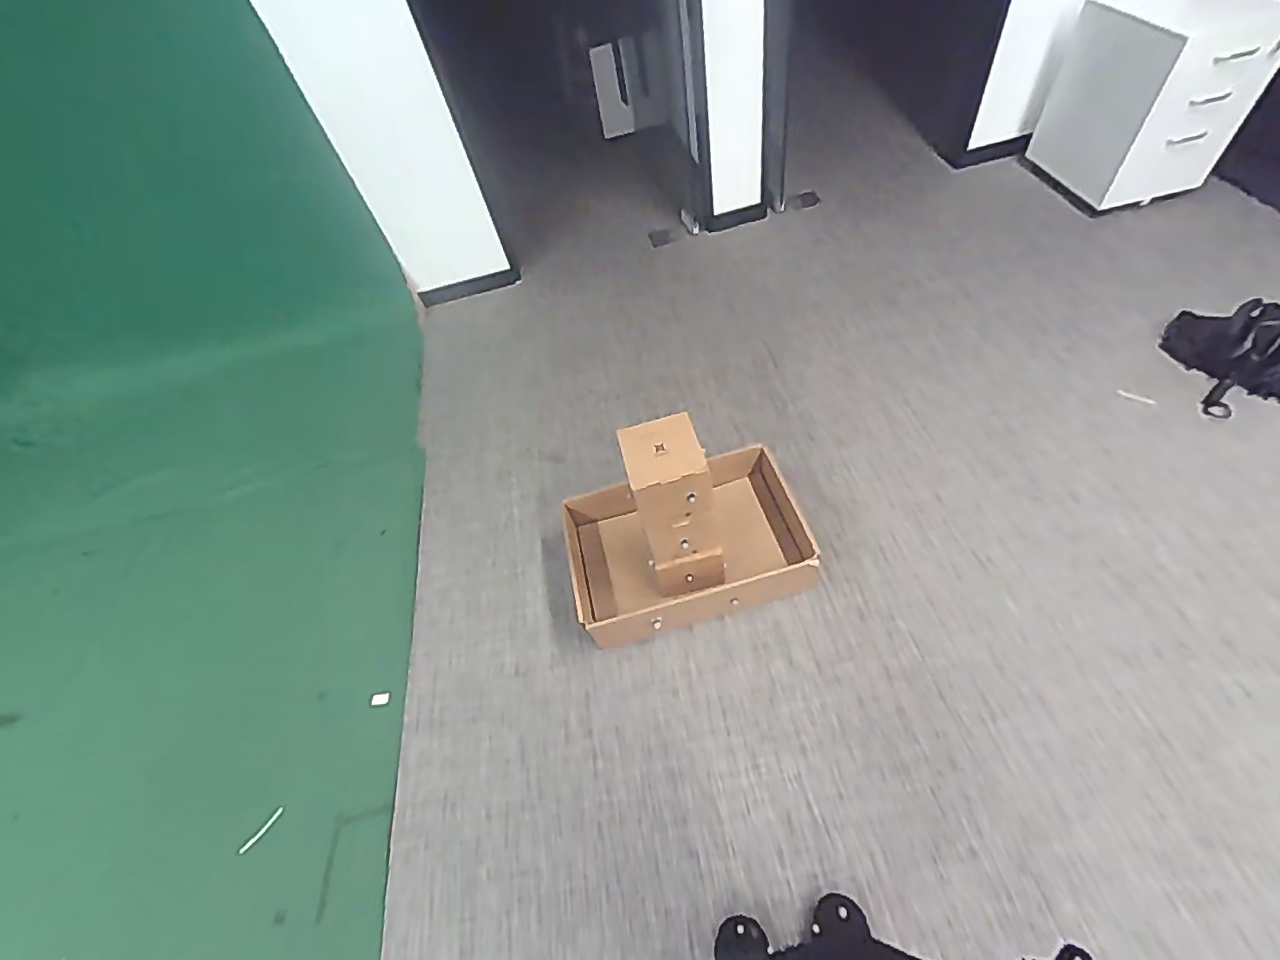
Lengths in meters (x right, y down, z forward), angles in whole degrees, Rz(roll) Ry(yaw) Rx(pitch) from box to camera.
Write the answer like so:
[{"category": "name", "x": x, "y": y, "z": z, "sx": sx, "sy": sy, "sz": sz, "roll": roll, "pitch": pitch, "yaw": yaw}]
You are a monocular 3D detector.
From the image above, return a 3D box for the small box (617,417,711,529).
[{"category": "small box", "x": 0.056, "y": -0.008, "z": 1.216, "sx": 0.168, "sy": 0.176, "sz": 0.179, "roll": -15, "pitch": 51, "yaw": -1}]

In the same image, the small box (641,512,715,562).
[{"category": "small box", "x": 0.084, "y": 0.088, "z": 1.345, "sx": 0.168, "sy": 0.176, "sz": 0.179, "roll": -16, "pitch": 52, "yaw": 0}]

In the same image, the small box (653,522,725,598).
[{"category": "small box", "x": 0.122, "y": 0.196, "z": 1.461, "sx": 0.179, "sy": 0.176, "sz": 0.168, "roll": -16, "pitch": 52, "yaw": -1}]
